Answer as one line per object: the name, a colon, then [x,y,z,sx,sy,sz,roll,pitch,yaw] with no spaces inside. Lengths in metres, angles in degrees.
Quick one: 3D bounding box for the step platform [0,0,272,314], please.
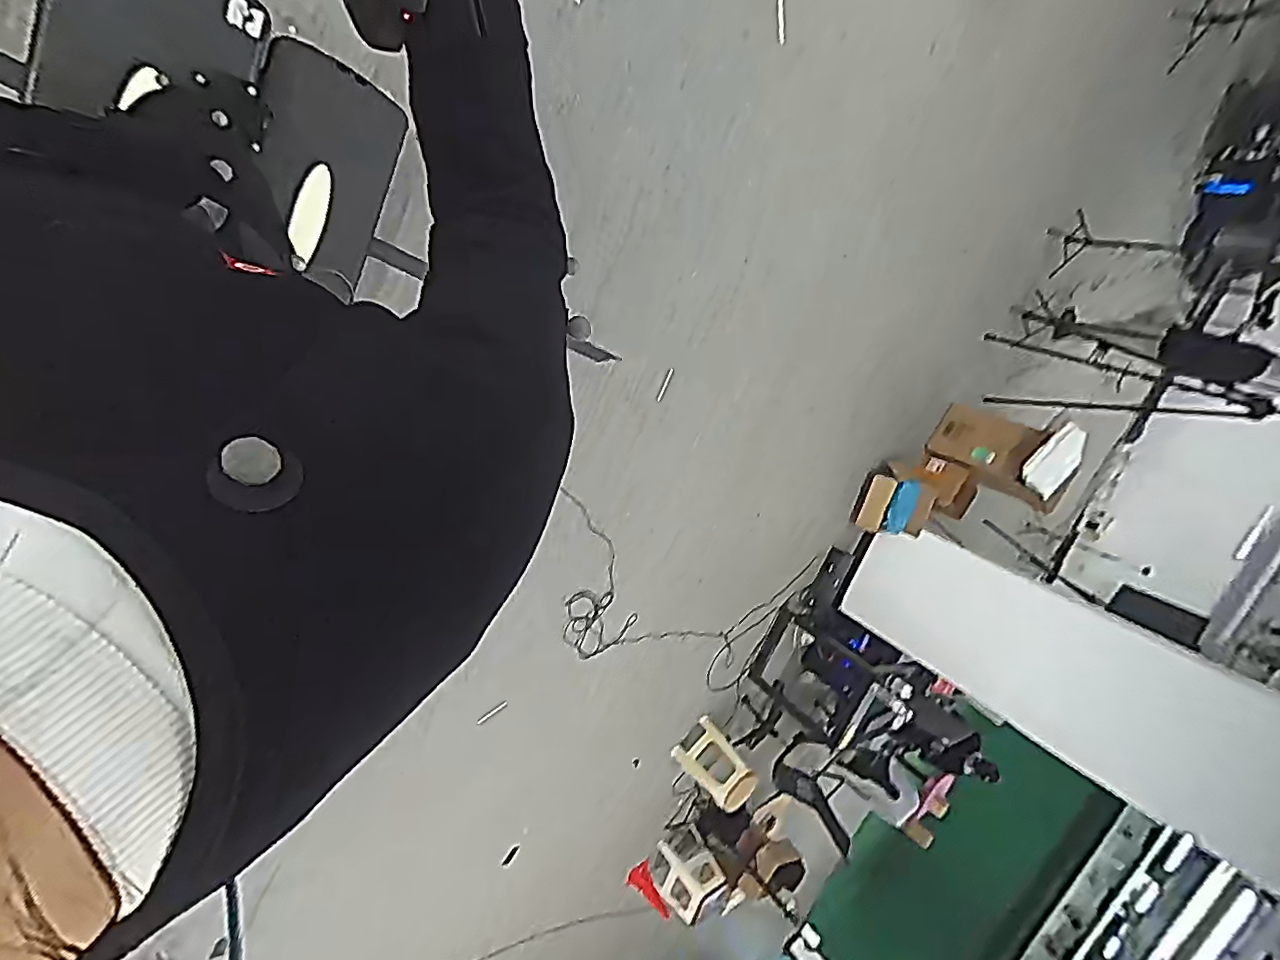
step platform: [-0.940,-0.672,1.013,0.286,0.204,0.684,13,103,-45]
